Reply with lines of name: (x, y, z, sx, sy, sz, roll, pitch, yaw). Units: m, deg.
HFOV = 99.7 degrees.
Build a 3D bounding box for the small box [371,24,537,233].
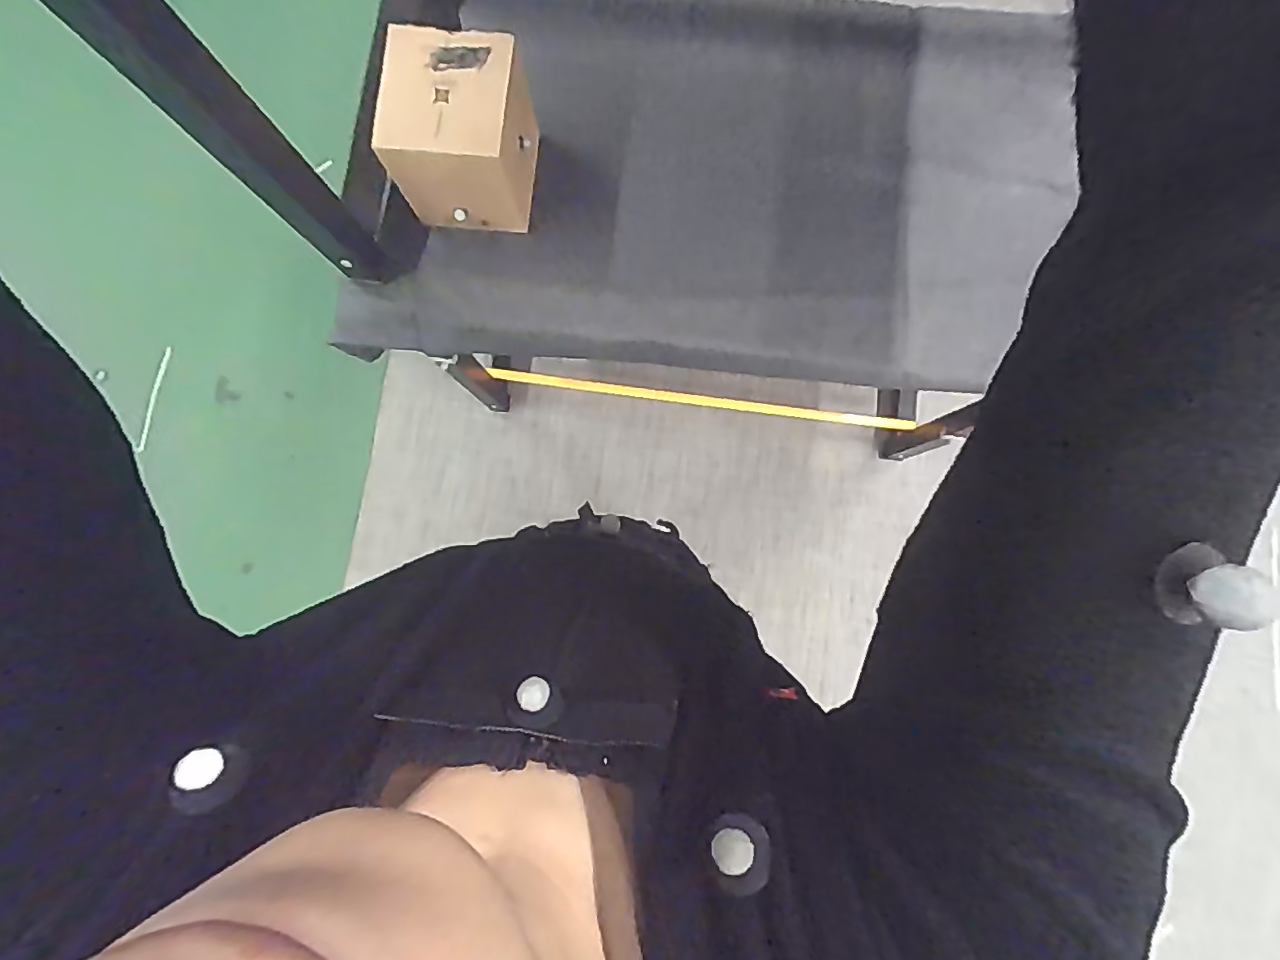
small box: (-0.246, -0.481, 0.760, 0.168, 0.176, 0.179, 5, 83, 1)
